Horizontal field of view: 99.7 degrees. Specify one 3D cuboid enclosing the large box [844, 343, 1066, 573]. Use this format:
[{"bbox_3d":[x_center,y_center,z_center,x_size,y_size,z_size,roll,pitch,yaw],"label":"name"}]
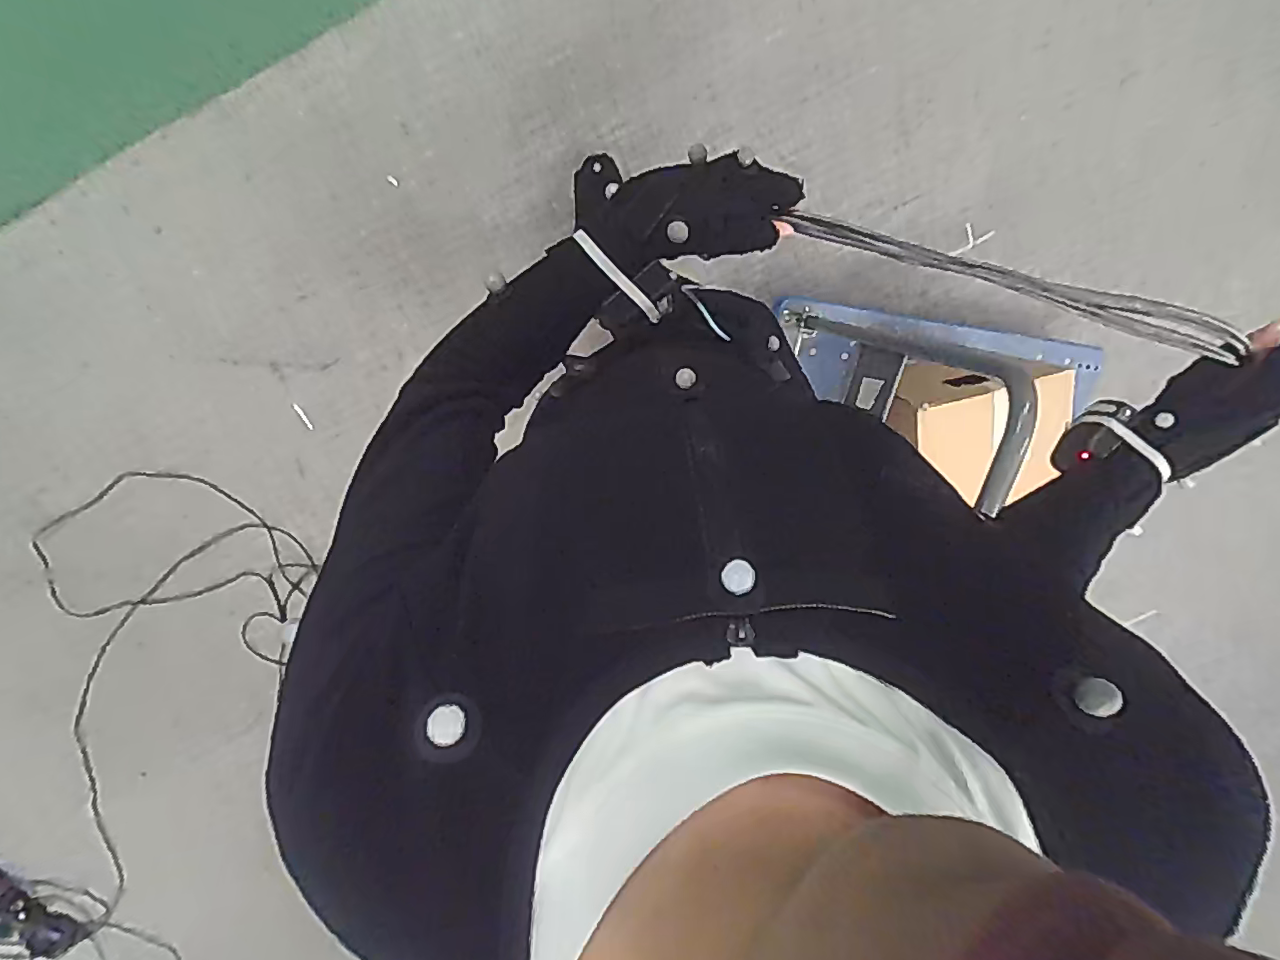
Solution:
[{"bbox_3d":[0.693,-0.064,1.233,0.320,0.320,0.408,-14,112,-1],"label":"large box"}]
